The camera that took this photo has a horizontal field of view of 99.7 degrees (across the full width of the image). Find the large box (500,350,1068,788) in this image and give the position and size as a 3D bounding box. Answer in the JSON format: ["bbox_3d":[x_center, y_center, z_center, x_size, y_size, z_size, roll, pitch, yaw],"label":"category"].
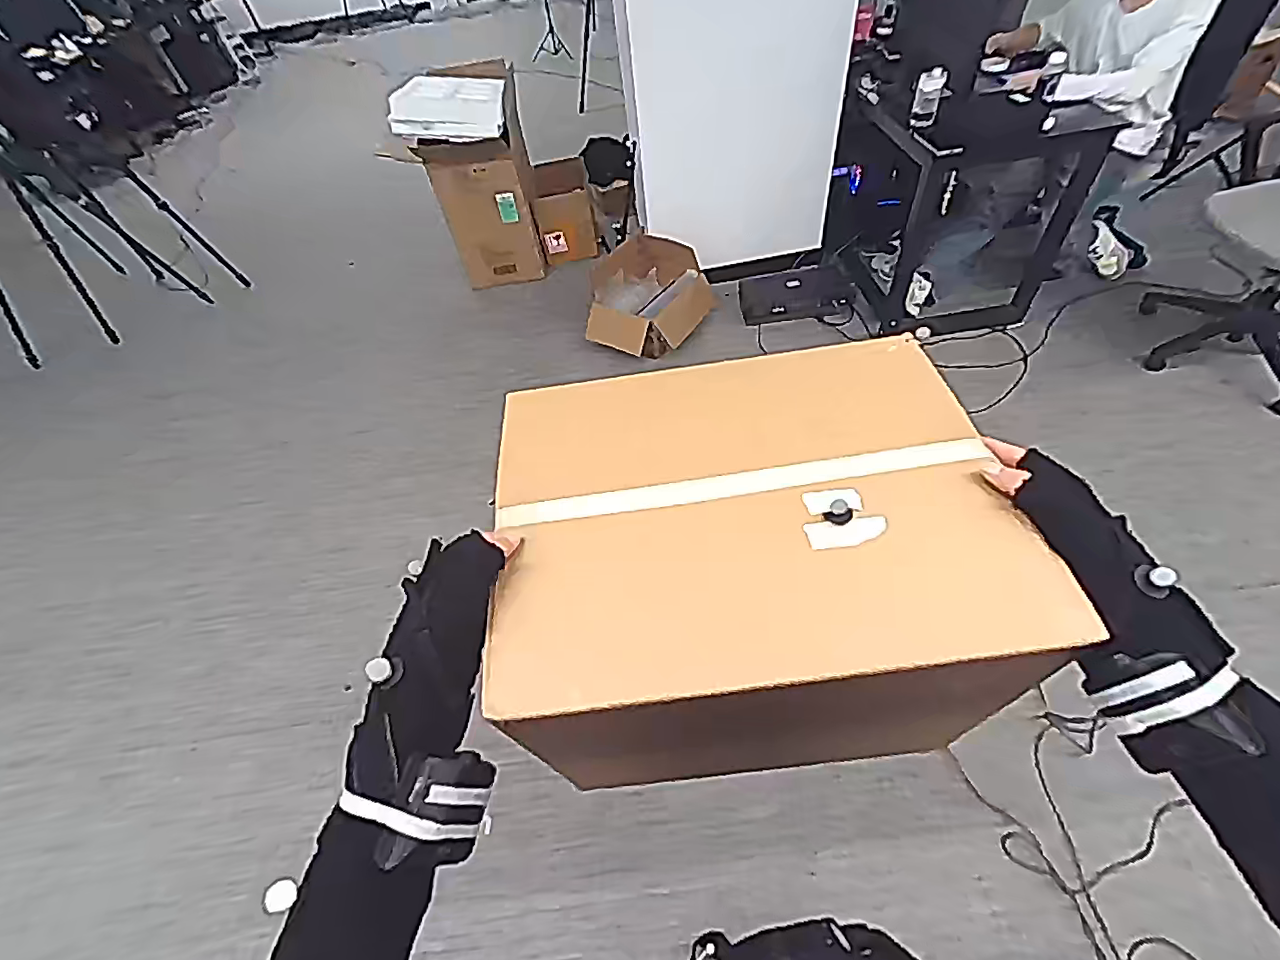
[{"bbox_3d":[0.096,0.105,0.576,0.408,0.320,0.320,-8,52,1],"label":"large box"}]
